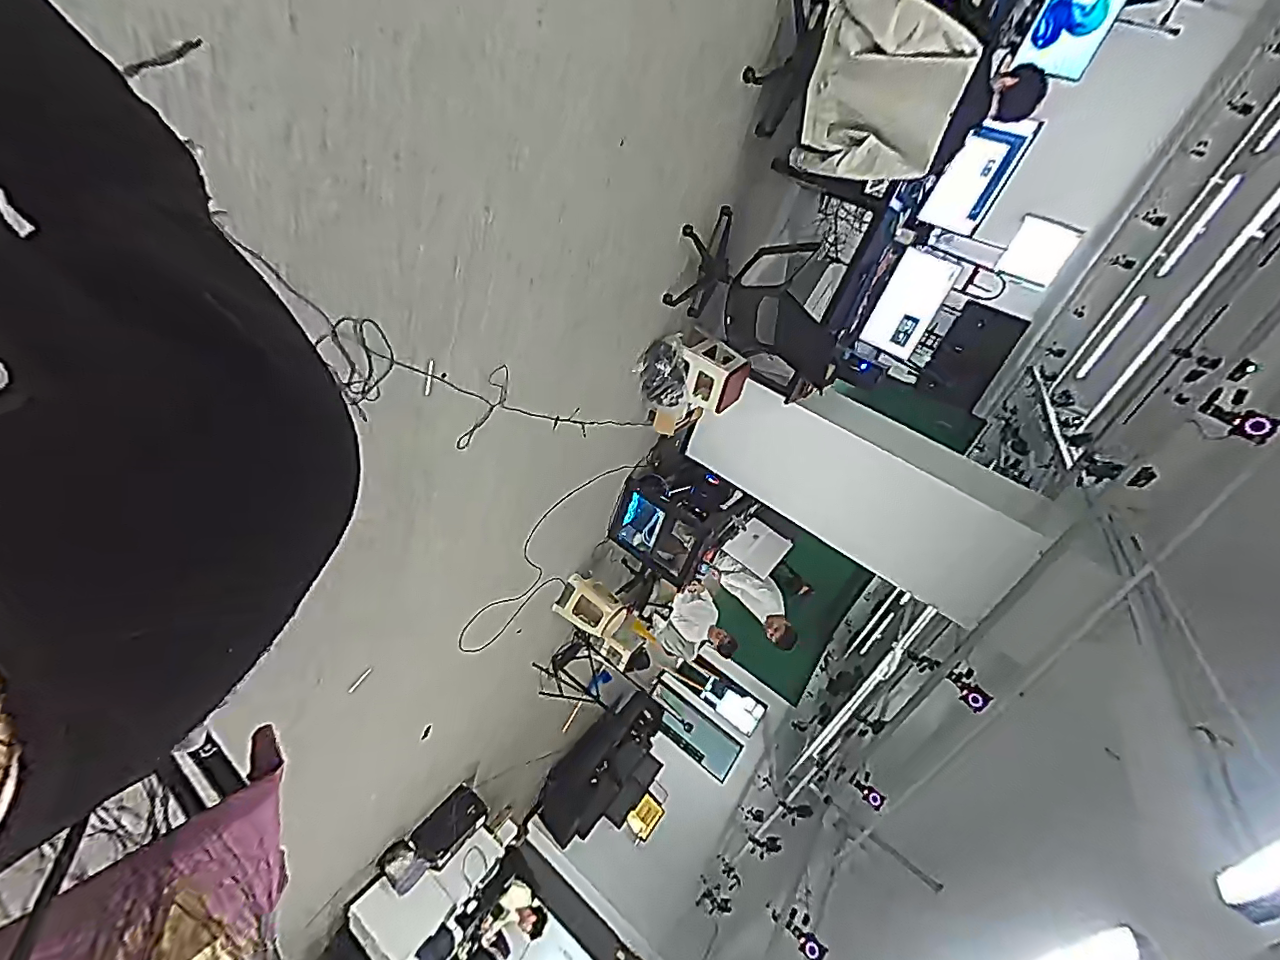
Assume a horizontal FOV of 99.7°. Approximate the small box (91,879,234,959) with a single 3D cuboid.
[{"bbox_3d":[-0.994,0.990,1.132,0.168,0.176,0.179,-30,148,-50],"label":"small box"}]
